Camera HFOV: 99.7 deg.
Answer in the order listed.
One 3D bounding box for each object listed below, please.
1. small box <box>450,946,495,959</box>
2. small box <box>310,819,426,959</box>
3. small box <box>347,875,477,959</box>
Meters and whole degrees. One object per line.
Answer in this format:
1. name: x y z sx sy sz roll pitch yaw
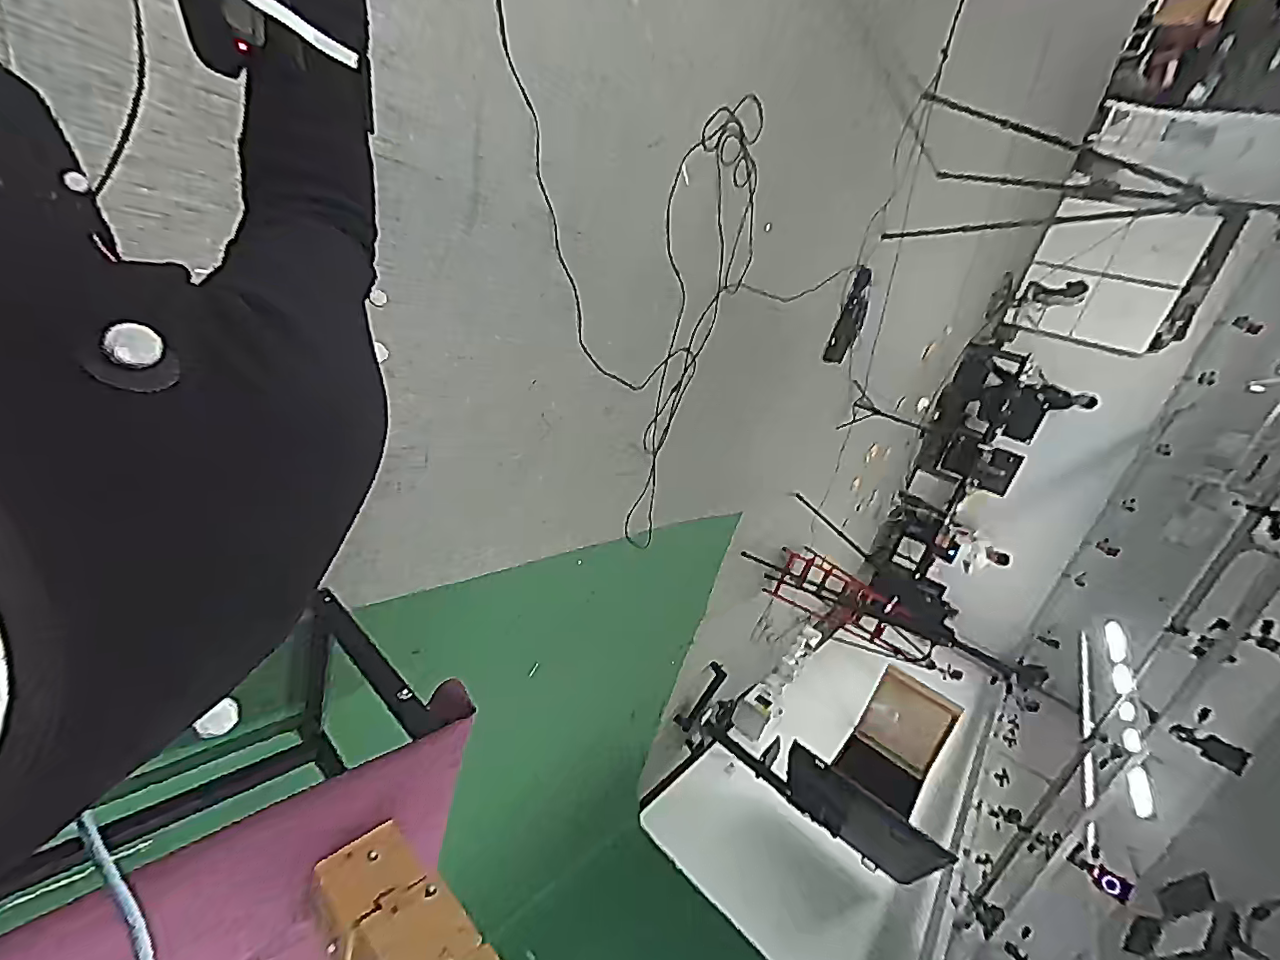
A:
1. small box: -0.336 1.005 0.979 0.168 0.176 0.179 25 92 -56
2. small box: -0.584 0.881 1.155 0.168 0.176 0.179 -10 122 -50
3. small box: -0.455 0.934 1.067 0.168 0.176 0.179 -4 118 -52
